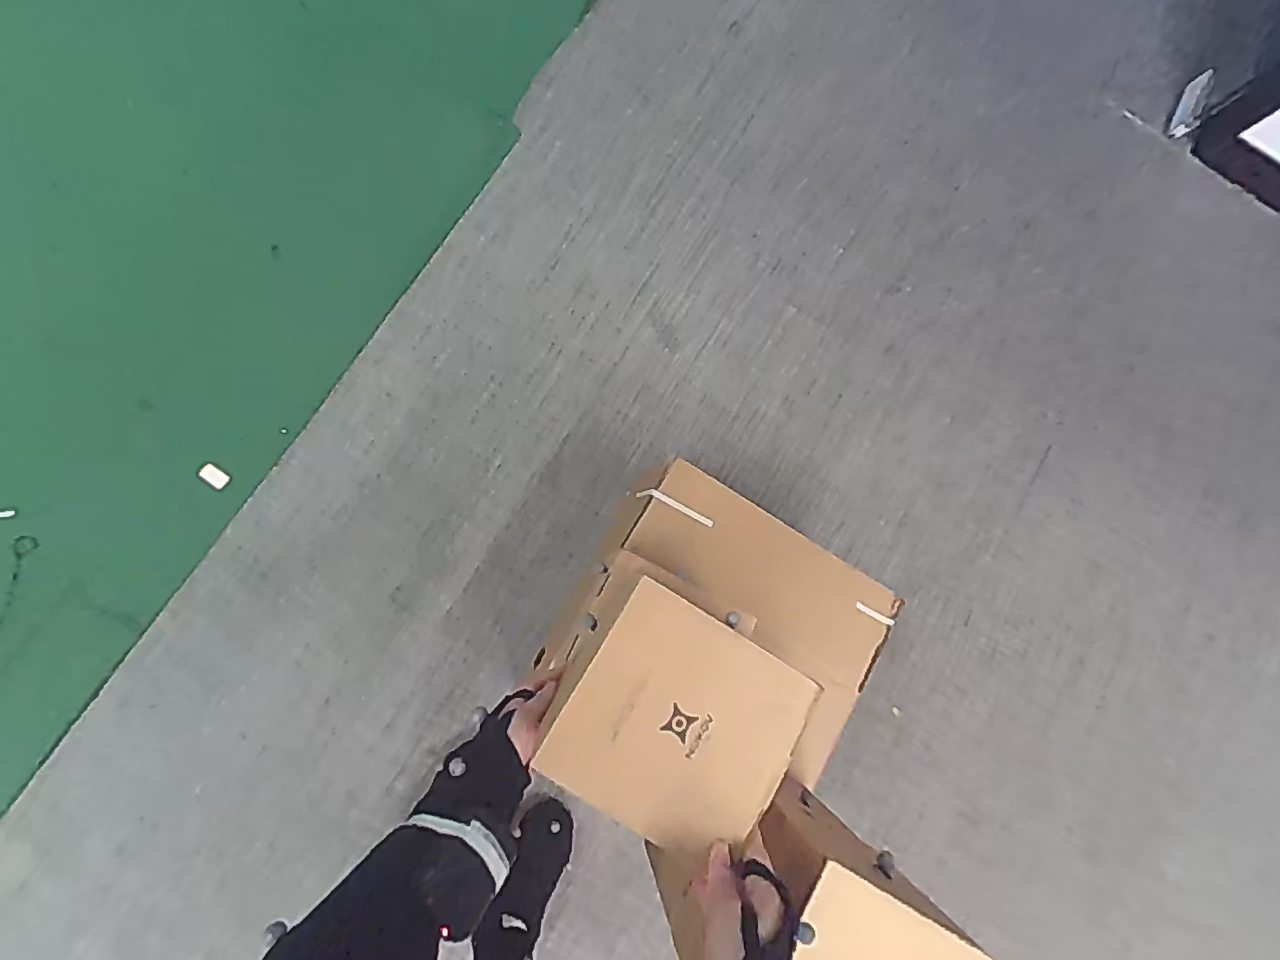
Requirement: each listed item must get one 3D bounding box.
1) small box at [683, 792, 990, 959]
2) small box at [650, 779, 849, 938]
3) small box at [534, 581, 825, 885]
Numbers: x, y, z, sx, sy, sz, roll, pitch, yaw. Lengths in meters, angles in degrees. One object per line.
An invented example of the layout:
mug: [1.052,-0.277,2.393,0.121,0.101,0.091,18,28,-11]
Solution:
small box: [0.157,0.420,0.485,0.168,0.176,0.179,33,80,-3]
small box: [0.133,0.445,0.645,0.179,0.176,0.168,33,79,-2]
small box: [0.026,0.202,0.494,0.179,0.176,0.168,33,79,-1]
